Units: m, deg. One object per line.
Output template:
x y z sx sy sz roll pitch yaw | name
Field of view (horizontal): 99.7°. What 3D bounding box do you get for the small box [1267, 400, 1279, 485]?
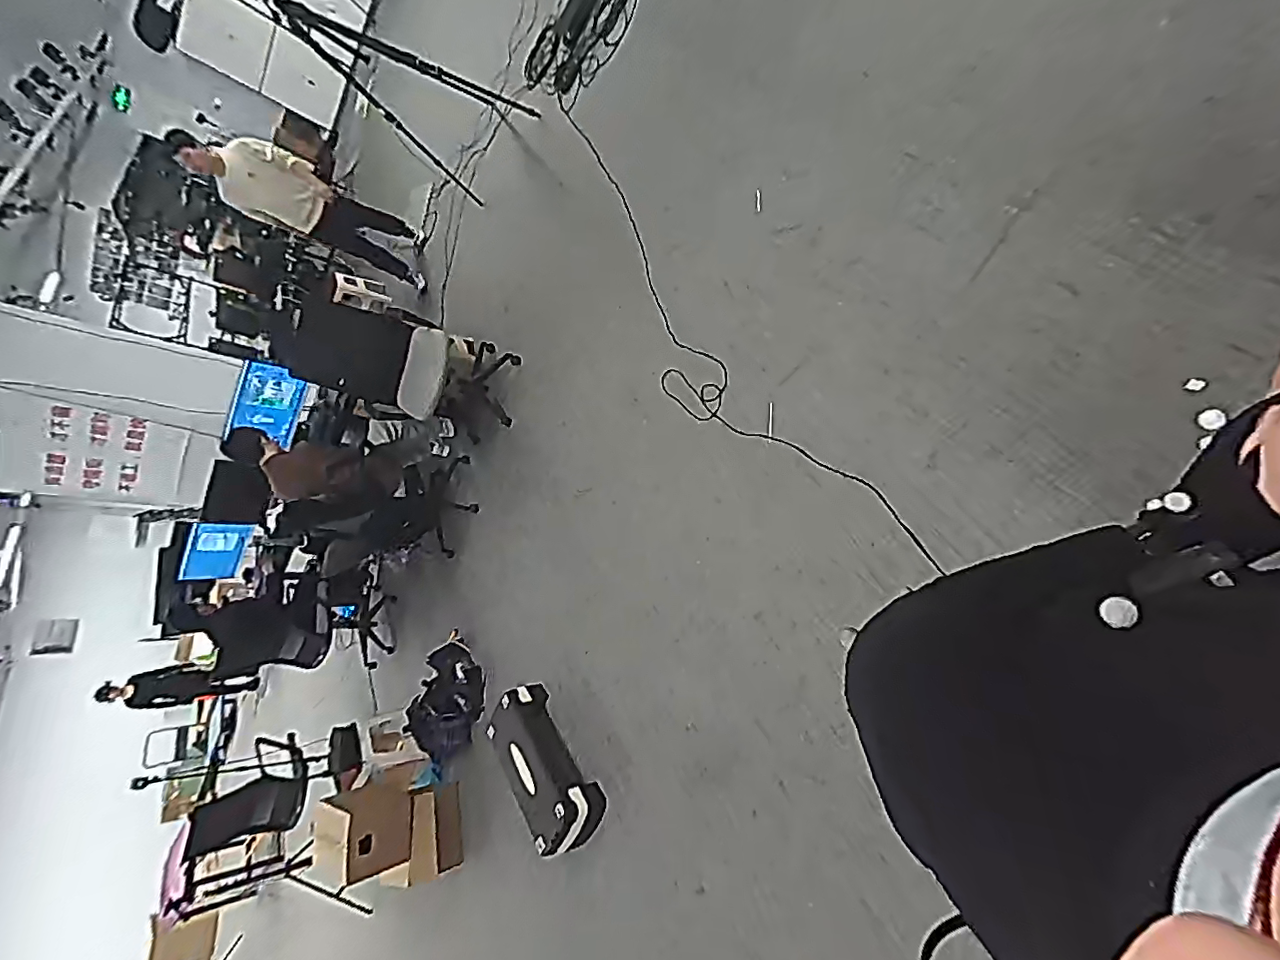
0.557 -0.081 0.352 0.168 0.176 0.179 12 83 44 | small box
